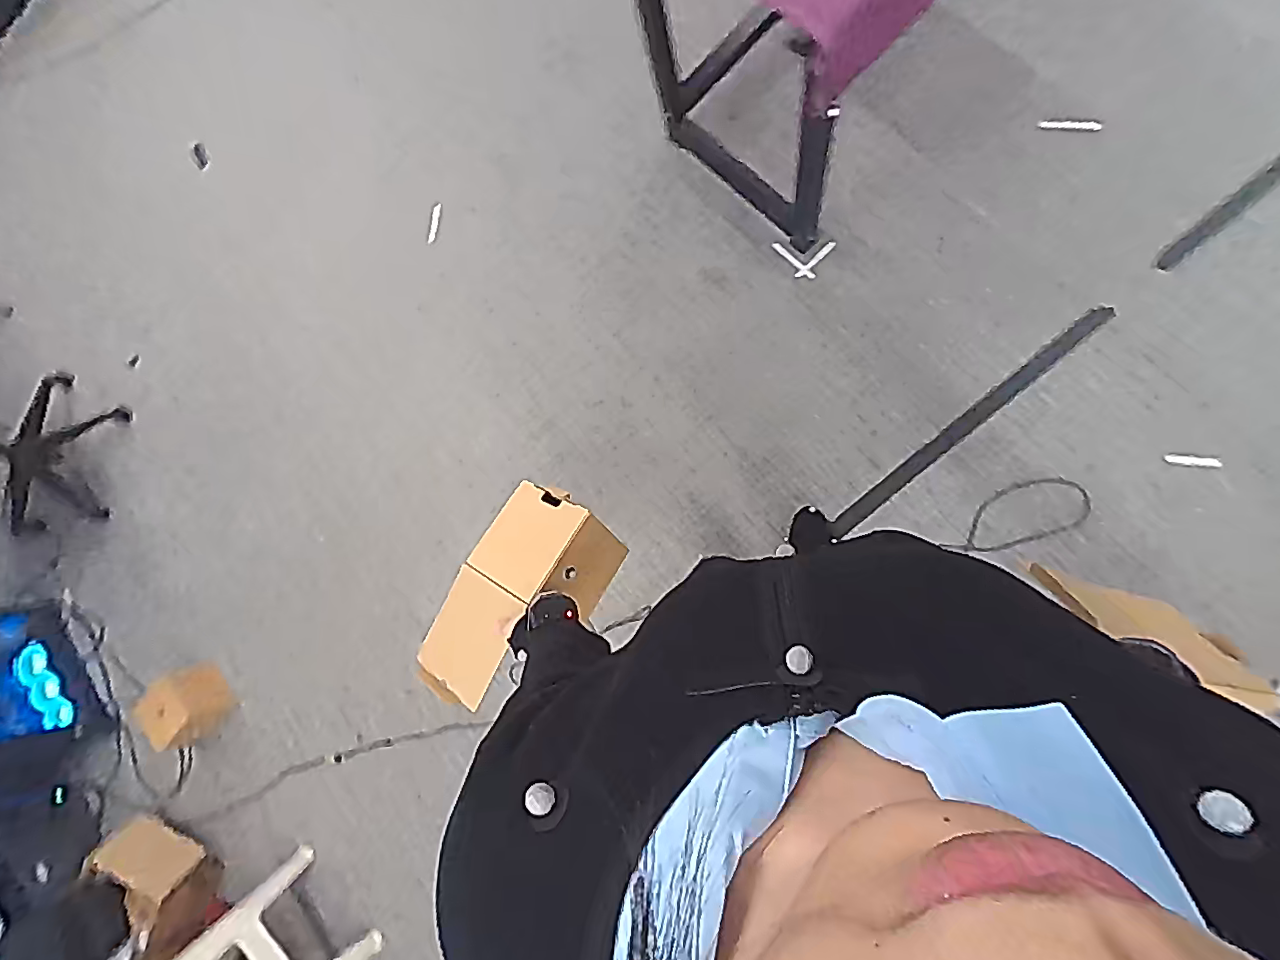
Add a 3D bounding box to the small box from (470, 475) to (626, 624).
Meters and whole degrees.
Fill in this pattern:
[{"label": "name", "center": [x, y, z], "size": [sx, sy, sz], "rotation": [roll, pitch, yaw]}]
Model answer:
[{"label": "small box", "center": [-0.151, 0.125, 0.944], "size": [0.168, 0.176, 0.179], "rotation": [23, 71, 34]}]
